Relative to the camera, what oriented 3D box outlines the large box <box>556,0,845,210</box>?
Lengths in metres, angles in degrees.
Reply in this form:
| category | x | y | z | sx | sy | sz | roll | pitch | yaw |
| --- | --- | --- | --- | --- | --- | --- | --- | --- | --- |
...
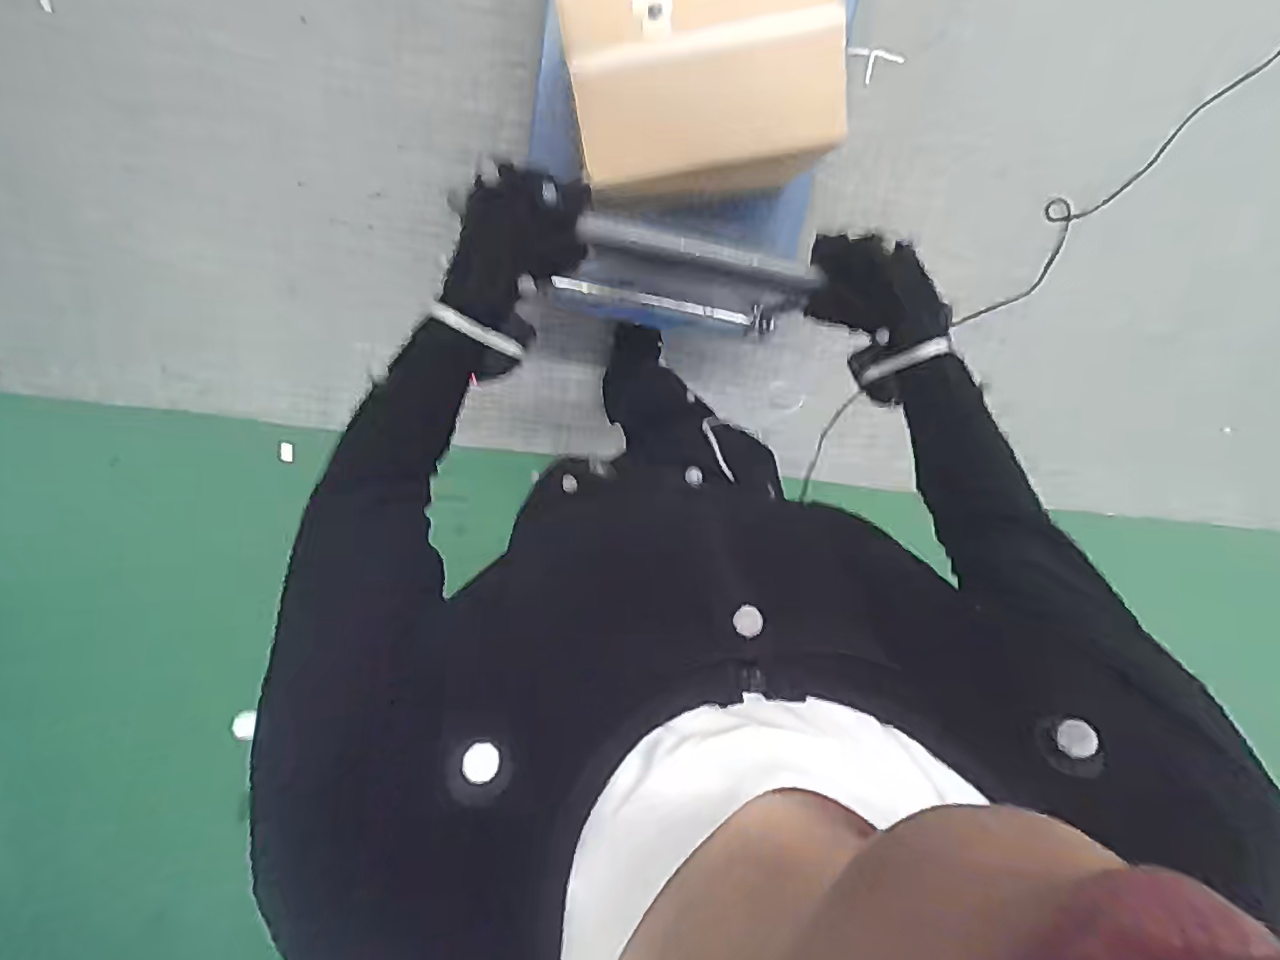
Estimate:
| category | x | y | z | sx | sy | sz | roll | pitch | yaw |
| --- | --- | --- | --- | --- | --- | --- | --- | --- | --- |
| large box | 0.089 | -0.686 | 0.925 | 0.408 | 0.320 | 0.320 | -10 | 107 | 1 |
